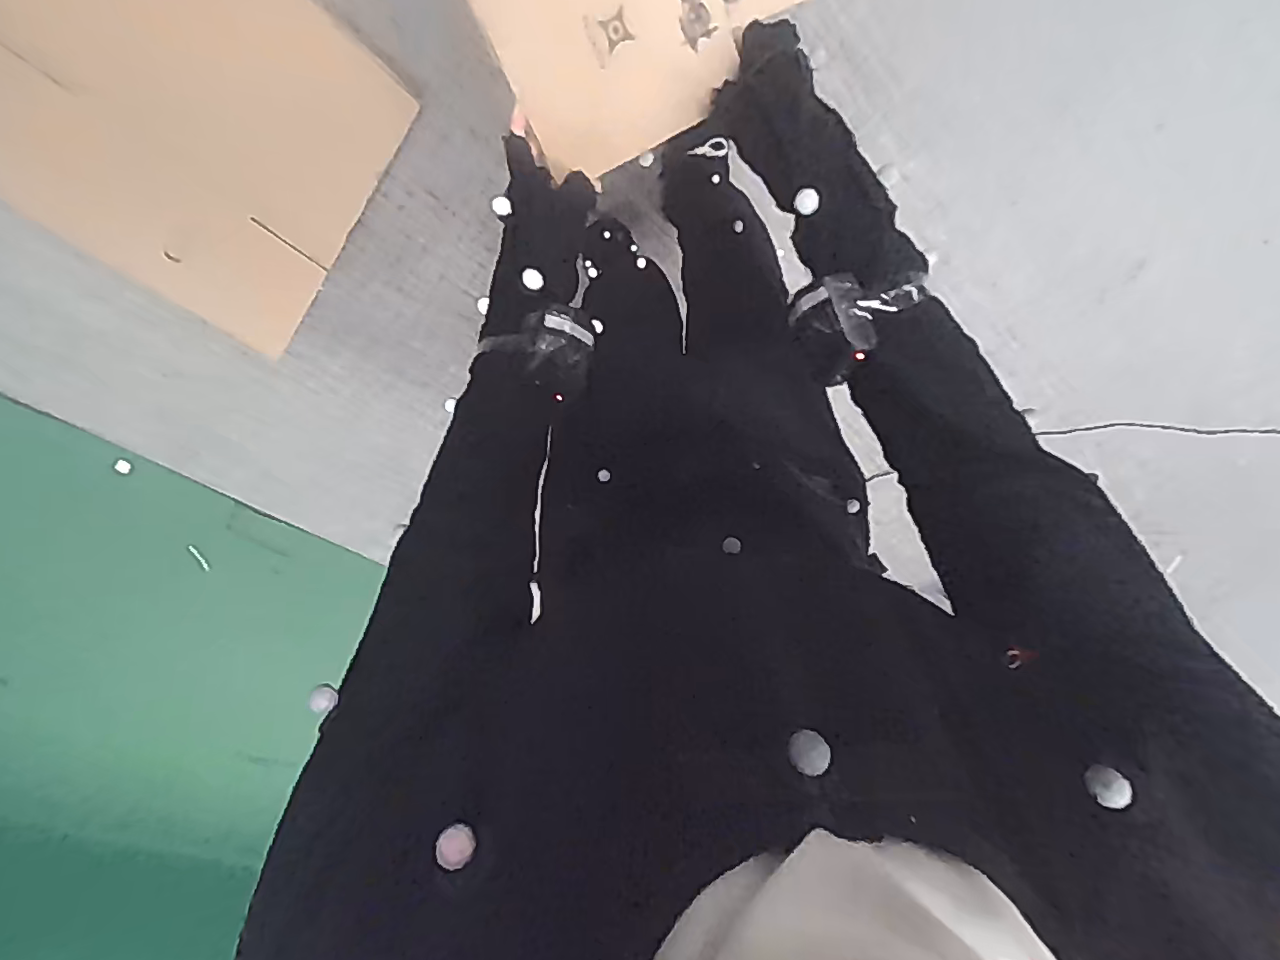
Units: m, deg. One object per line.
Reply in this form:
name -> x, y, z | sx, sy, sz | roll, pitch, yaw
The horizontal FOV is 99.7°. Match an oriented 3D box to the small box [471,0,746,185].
small box -> -0.013, -0.394, 0.486 | 0.179, 0.176, 0.168 | -20, 117, 22

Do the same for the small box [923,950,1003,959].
small box -> 0.872, 1.354, 1.412 | 0.179, 0.176, 0.168 | 29, 123, -25

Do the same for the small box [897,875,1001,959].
small box -> 0.875, 1.256, 1.544 | 0.179, 0.176, 0.168 | 34, 121, -24
